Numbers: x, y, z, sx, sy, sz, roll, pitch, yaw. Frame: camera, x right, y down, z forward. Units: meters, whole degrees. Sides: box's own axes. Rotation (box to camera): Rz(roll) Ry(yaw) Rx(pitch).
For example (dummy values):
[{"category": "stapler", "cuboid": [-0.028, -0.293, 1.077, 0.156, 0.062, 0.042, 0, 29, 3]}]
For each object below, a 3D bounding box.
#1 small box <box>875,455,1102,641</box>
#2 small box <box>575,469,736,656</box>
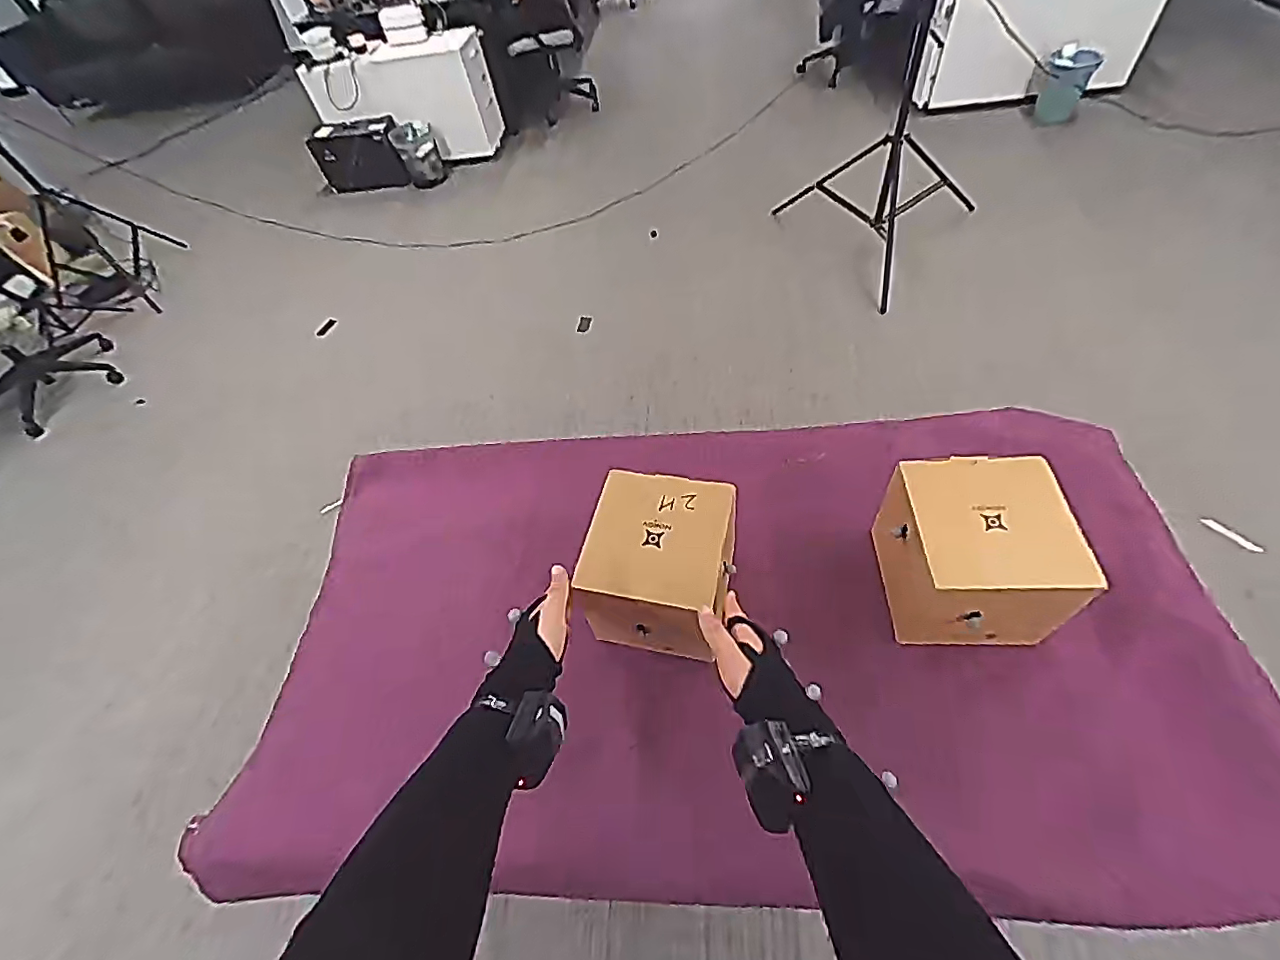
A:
[{"category": "small box", "cuboid": [0.407, 0.091, 0.672, 0.168, 0.176, 0.179, -2, 52, 8]}, {"category": "small box", "cuboid": [0.032, 0.112, 0.713, 0.168, 0.176, 0.179, 8, 55, 14]}]
